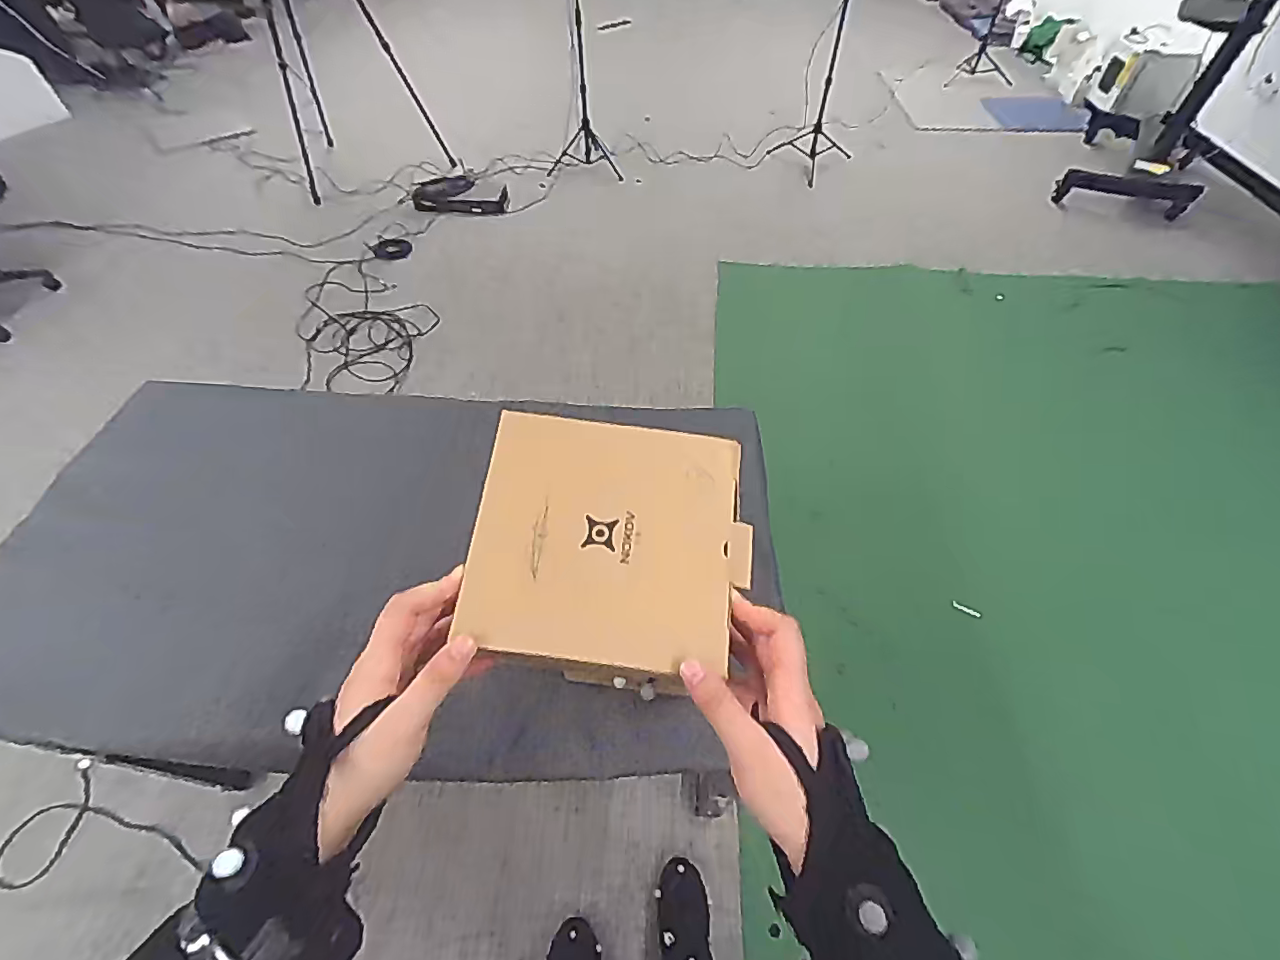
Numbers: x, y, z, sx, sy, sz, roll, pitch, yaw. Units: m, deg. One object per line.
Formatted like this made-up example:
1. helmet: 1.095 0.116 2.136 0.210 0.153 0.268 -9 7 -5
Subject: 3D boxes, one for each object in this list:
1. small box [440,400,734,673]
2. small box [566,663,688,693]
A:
1. small box: -0.030 0.057 0.430 0.179 0.176 0.168 6 67 1
2. small box: -0.010 0.150 0.696 0.168 0.176 0.179 6 51 6
